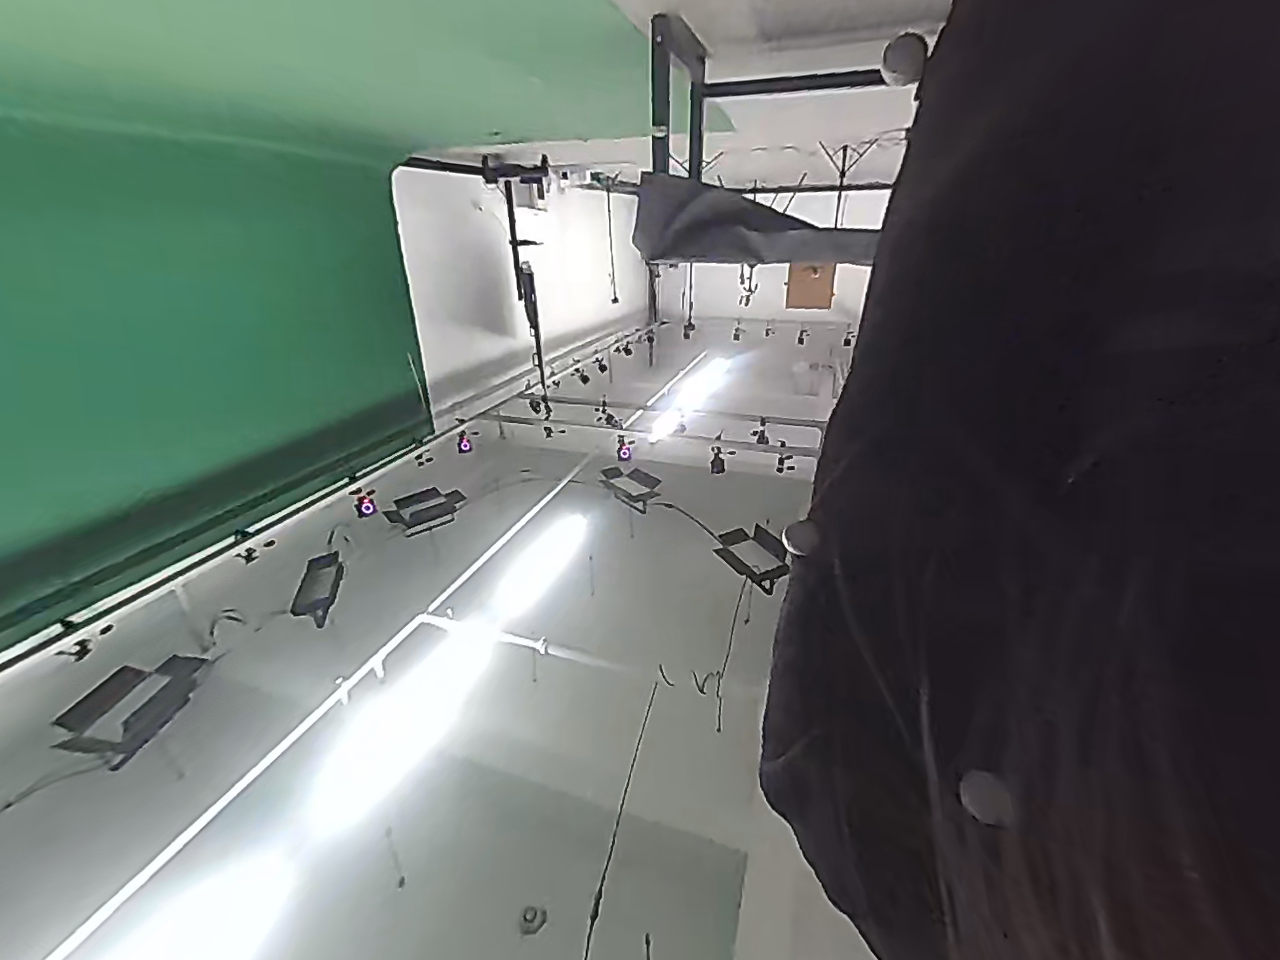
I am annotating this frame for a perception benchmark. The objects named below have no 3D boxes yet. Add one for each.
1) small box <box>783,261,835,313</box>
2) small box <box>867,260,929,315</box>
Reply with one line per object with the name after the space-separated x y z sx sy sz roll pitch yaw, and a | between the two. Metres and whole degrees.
0.630 -0.725 2.016 0.168 0.176 0.179 5 -155 15 | small box
0.924 -0.694 1.944 0.168 0.176 0.179 6 -153 15 | small box
